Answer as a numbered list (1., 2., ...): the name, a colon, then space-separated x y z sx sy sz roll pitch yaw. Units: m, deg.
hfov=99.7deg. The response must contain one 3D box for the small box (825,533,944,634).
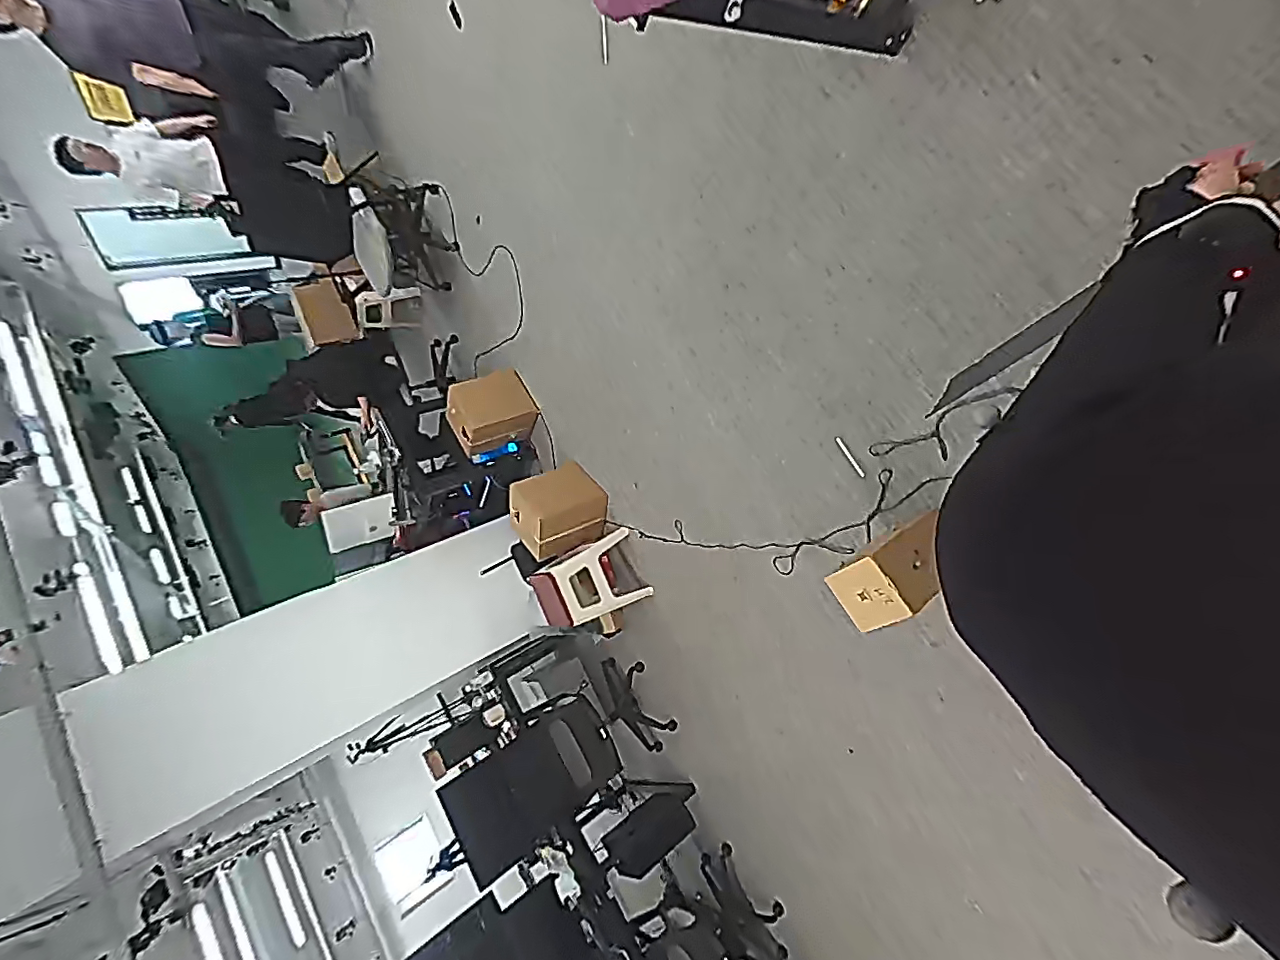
1. small box: 0.612 0.258 1.354 0.168 0.176 0.179 57 145 13

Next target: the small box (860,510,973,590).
1. small box: 0.739 0.204 1.444 0.168 0.176 0.179 58 145 12
